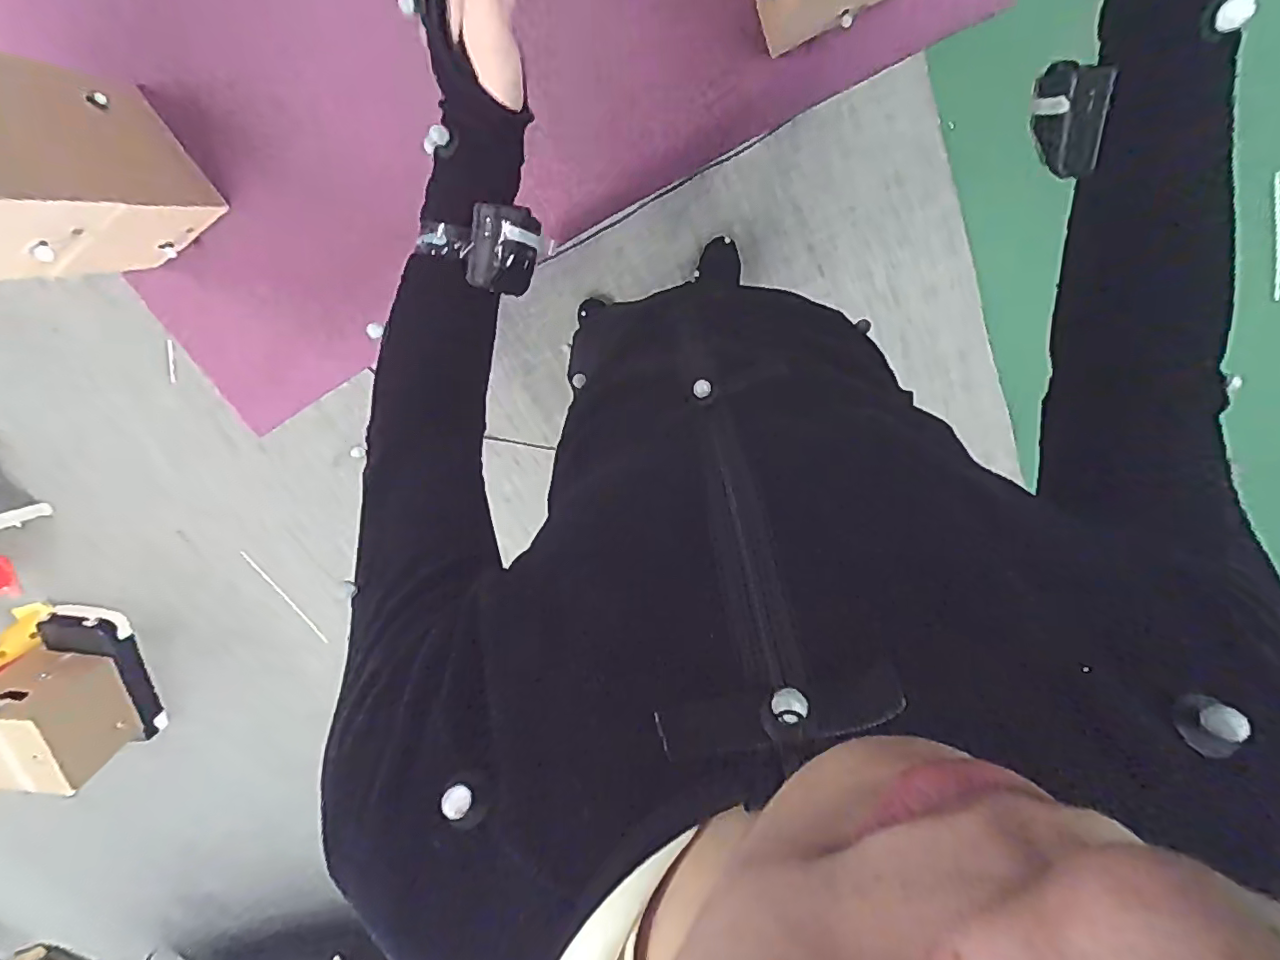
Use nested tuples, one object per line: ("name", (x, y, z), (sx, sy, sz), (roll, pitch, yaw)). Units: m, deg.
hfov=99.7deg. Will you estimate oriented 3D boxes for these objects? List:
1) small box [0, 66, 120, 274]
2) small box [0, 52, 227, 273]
("small box", (-0.722, -0.325, 0.556), (0.168, 0.176, 0.179), (-26, 111, 17))
("small box", (-0.709, -0.394, 0.703), (0.168, 0.176, 0.179), (-25, 111, 16))
